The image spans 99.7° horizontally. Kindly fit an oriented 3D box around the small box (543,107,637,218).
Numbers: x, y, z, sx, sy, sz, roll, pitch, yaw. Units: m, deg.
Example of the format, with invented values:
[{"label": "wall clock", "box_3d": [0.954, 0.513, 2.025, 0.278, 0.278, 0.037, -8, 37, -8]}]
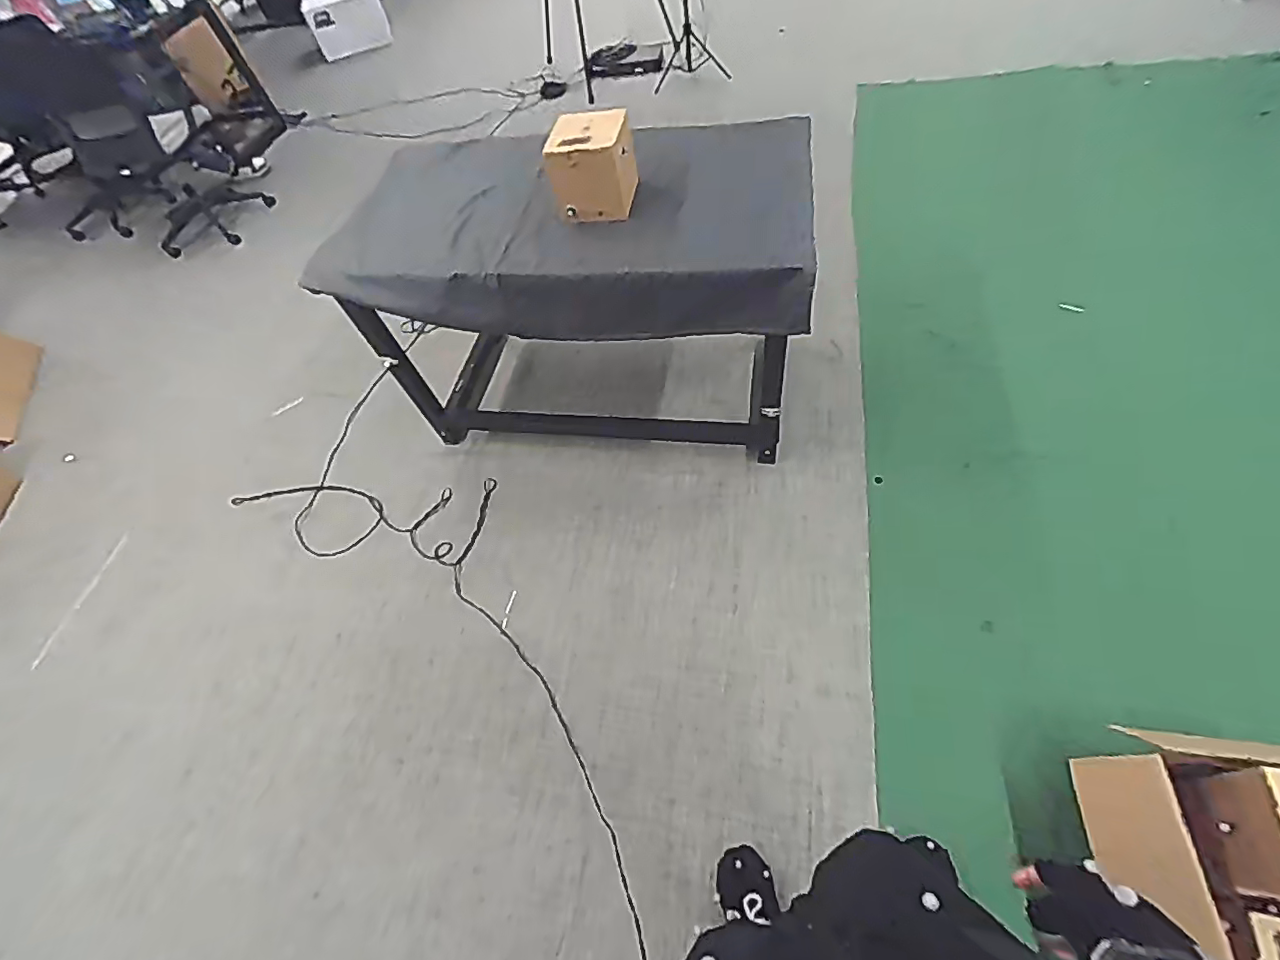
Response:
[{"label": "small box", "box_3d": [-0.108, -0.738, 1.272, 0.168, 0.176, 0.179, 3, 57, 13]}]
